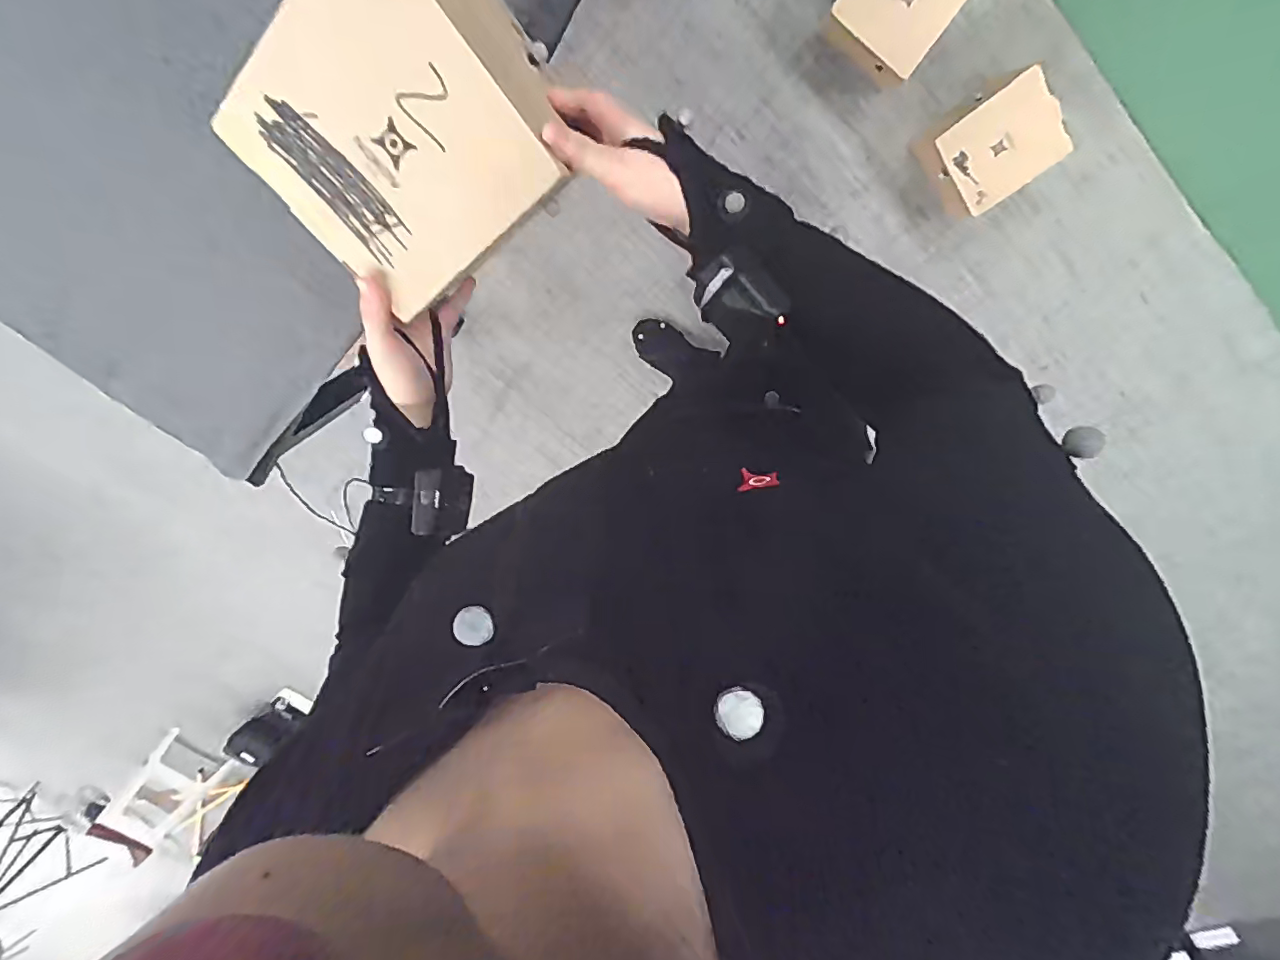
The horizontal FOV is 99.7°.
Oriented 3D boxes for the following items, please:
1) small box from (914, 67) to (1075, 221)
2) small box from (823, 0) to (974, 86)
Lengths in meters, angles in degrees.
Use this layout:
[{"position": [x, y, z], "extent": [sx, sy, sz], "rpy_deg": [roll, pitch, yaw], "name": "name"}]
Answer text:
[{"position": [0.652, -0.625, 1.014], "extent": [0.179, 0.176, 0.168], "rpy_deg": [-32, 112, 26], "name": "small box"}, {"position": [0.443, -0.818, 0.932], "extent": [0.179, 0.176, 0.168], "rpy_deg": [33, 121, -11], "name": "small box"}]
